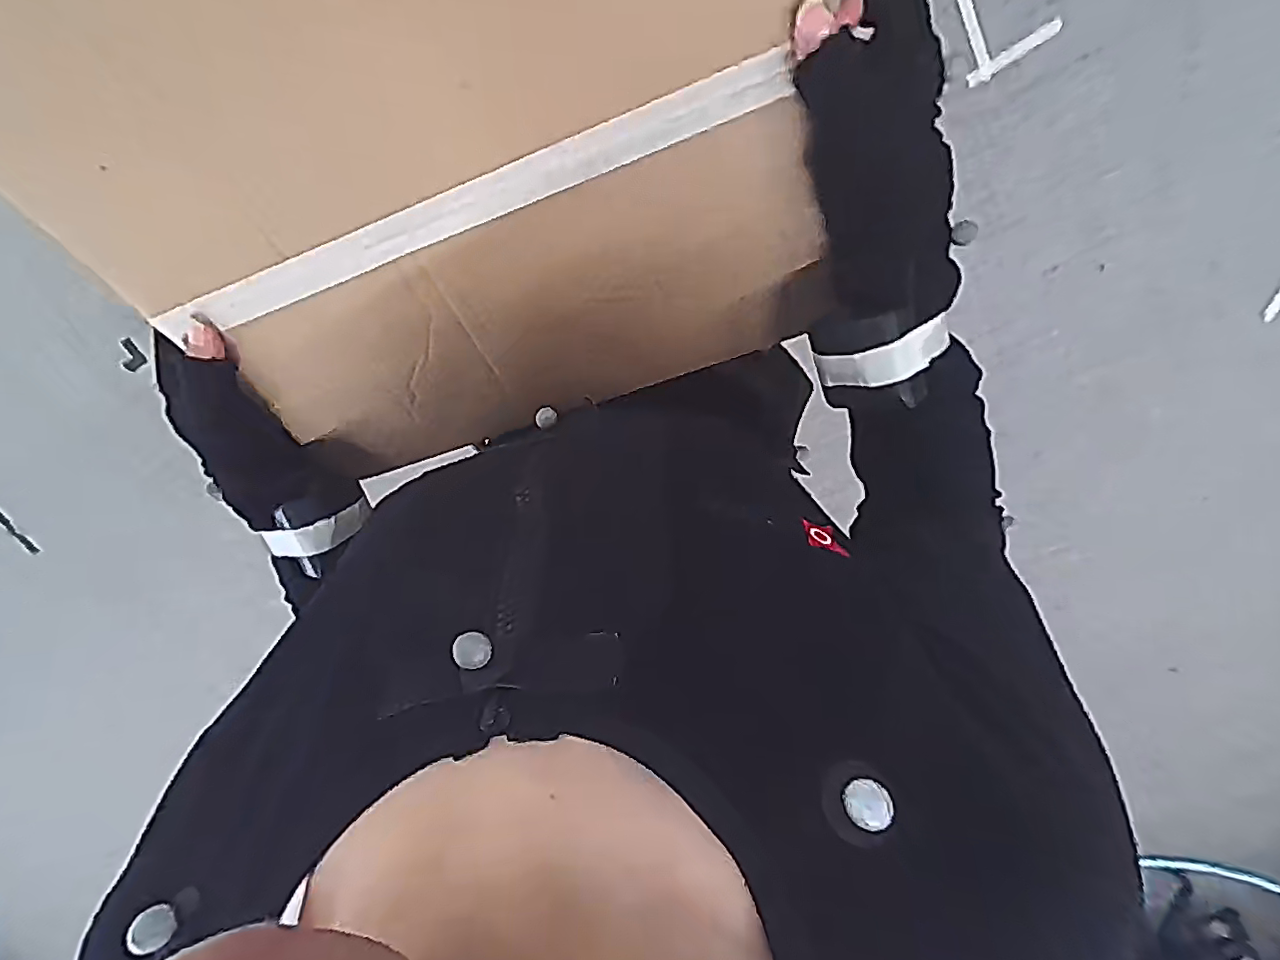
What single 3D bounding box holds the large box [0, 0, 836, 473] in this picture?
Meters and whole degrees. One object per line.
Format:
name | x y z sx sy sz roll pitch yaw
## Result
large box | -0.111 -0.265 0.405 0.408 0.320 0.320 -17 137 11
